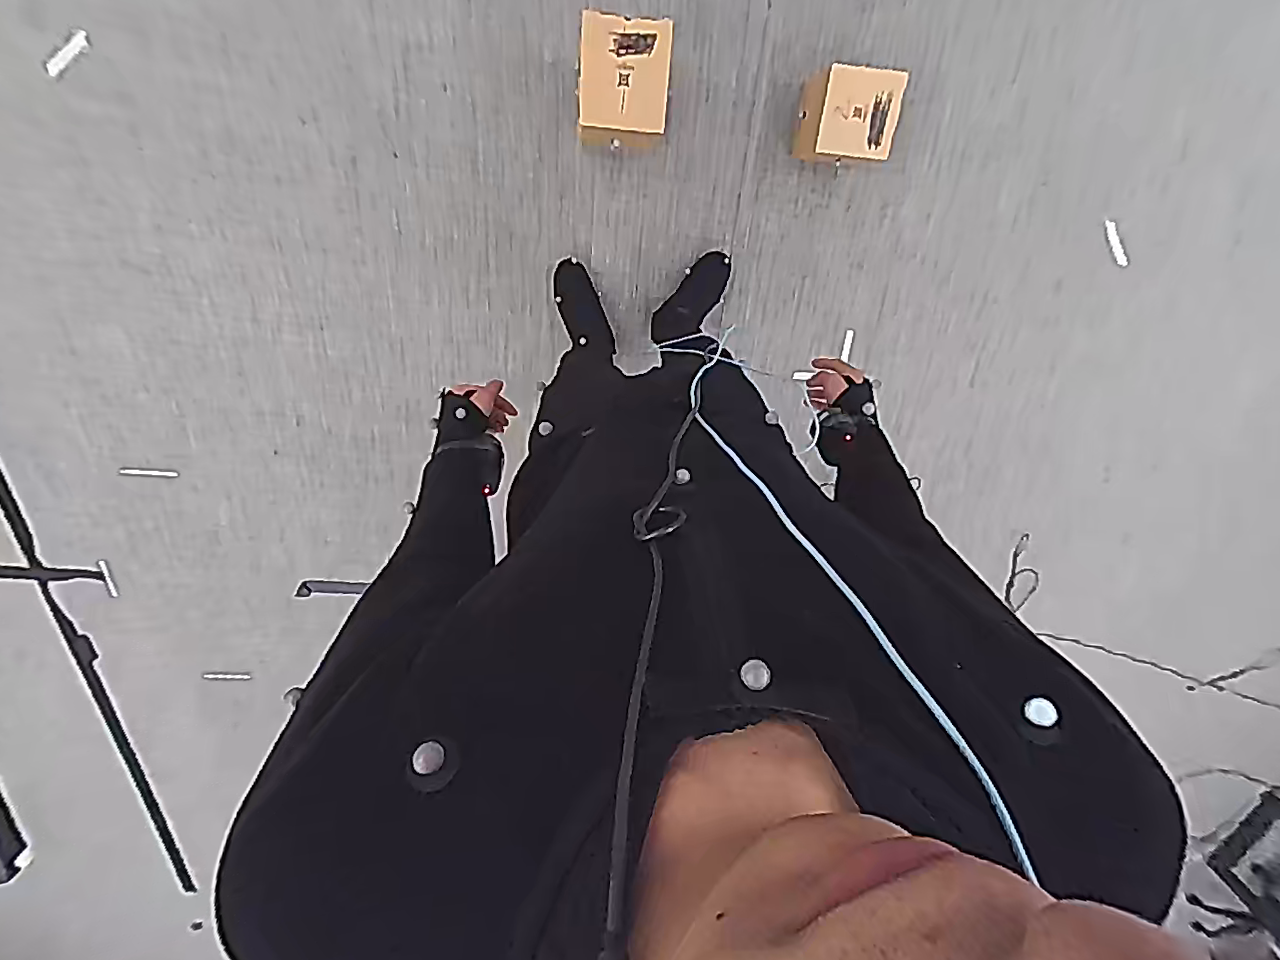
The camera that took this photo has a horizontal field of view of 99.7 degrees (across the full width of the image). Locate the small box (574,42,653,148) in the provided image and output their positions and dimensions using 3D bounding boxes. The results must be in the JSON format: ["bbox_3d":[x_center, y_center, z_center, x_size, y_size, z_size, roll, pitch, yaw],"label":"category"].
[{"bbox_3d":[-0.055,-0.855,1.215,0.179,0.176,0.168,3,116,-5],"label":"small box"}]

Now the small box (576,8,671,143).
[{"bbox_3d":[-0.038,-0.785,1.067,0.168,0.176,0.179,3,117,-5],"label":"small box"}]
